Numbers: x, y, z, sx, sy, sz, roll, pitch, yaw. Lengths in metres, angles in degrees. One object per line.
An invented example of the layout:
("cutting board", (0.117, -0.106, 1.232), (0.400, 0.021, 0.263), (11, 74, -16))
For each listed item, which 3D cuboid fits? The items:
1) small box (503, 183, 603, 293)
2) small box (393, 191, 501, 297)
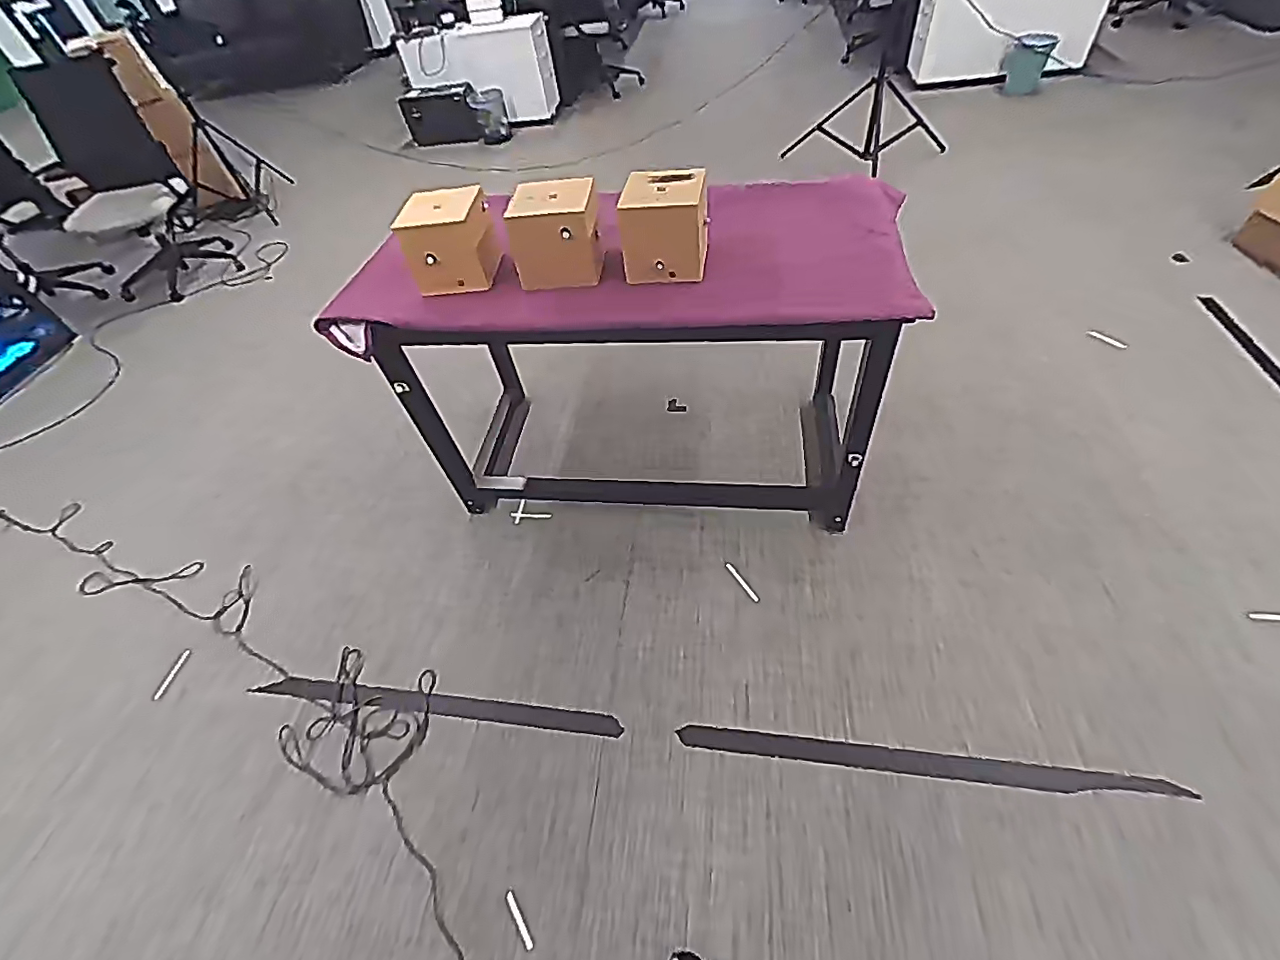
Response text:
("small box", (-0.184, -0.538, 1.211), (0.179, 0.176, 0.168), (-1, 49, 7))
("small box", (-0.437, -0.540, 1.256), (0.168, 0.176, 0.179), (-4, 49, 6))
